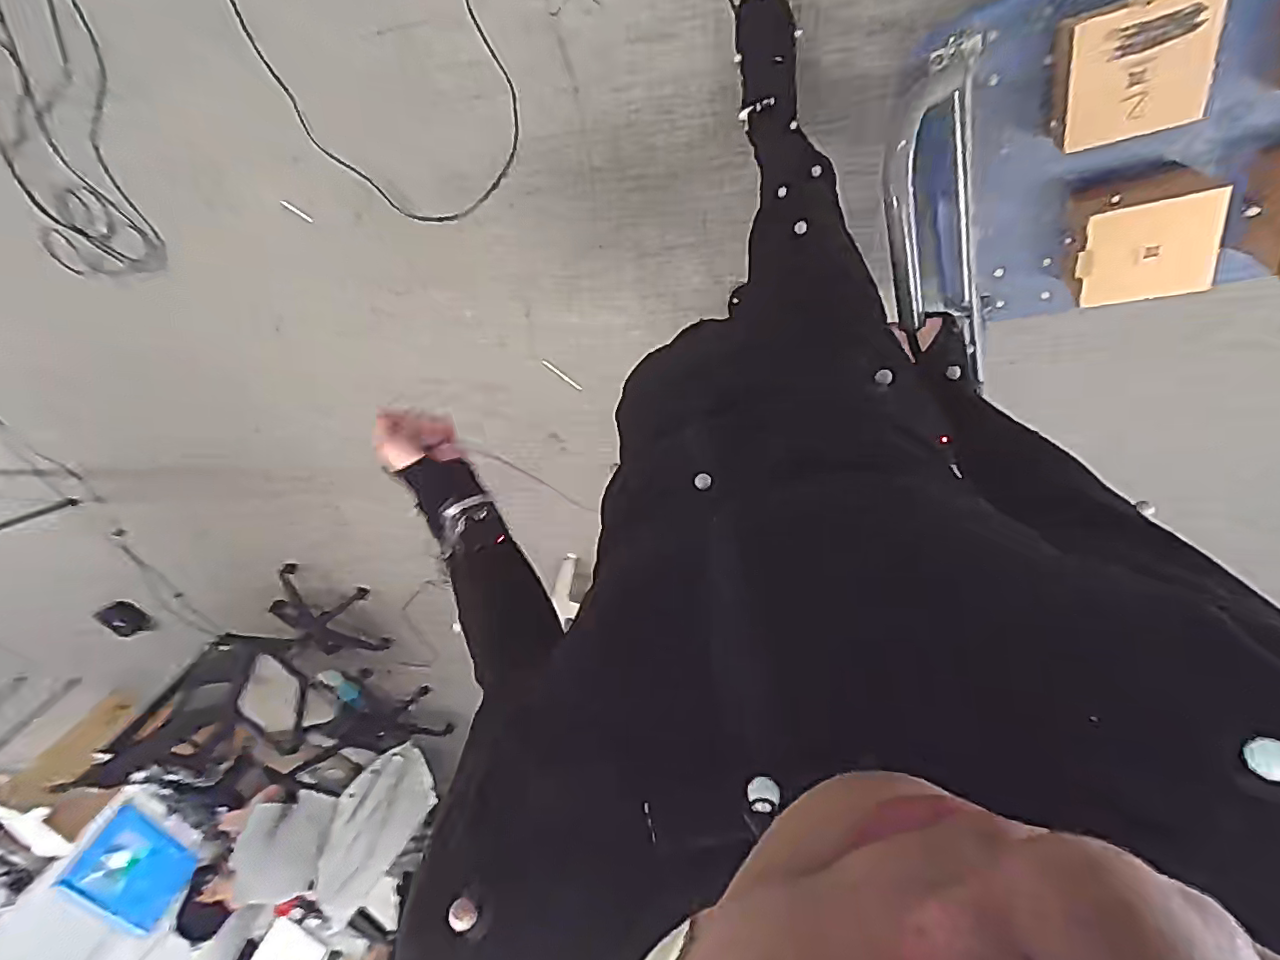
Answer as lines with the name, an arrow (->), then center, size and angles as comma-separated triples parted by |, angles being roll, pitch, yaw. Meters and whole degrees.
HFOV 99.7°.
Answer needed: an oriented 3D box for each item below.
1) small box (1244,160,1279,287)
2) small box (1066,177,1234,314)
small box -> 1.101, -0.420, 0.835 | 0.179, 0.176, 0.168 | -4, 123, 33
small box -> 0.887, -0.418, 0.962 | 0.179, 0.176, 0.168 | -1, 125, 31
